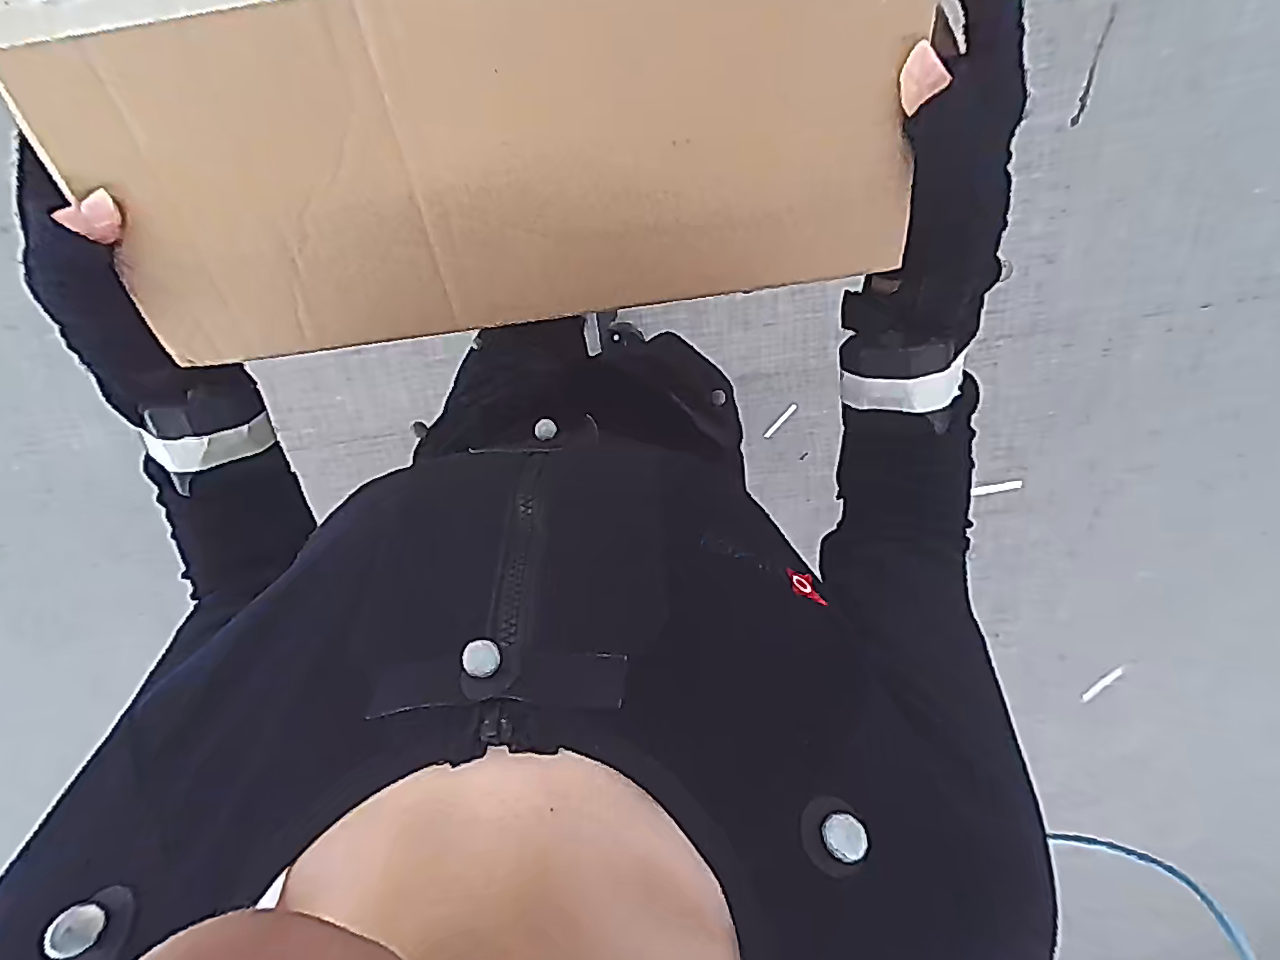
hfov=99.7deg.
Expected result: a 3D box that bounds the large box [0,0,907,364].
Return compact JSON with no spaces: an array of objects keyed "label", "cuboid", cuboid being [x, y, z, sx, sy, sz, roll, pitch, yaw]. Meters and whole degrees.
[{"label":"large box","cuboid":[-0.085,-0.303,0.347,0.408,0.320,0.320,-7,123,4]}]
